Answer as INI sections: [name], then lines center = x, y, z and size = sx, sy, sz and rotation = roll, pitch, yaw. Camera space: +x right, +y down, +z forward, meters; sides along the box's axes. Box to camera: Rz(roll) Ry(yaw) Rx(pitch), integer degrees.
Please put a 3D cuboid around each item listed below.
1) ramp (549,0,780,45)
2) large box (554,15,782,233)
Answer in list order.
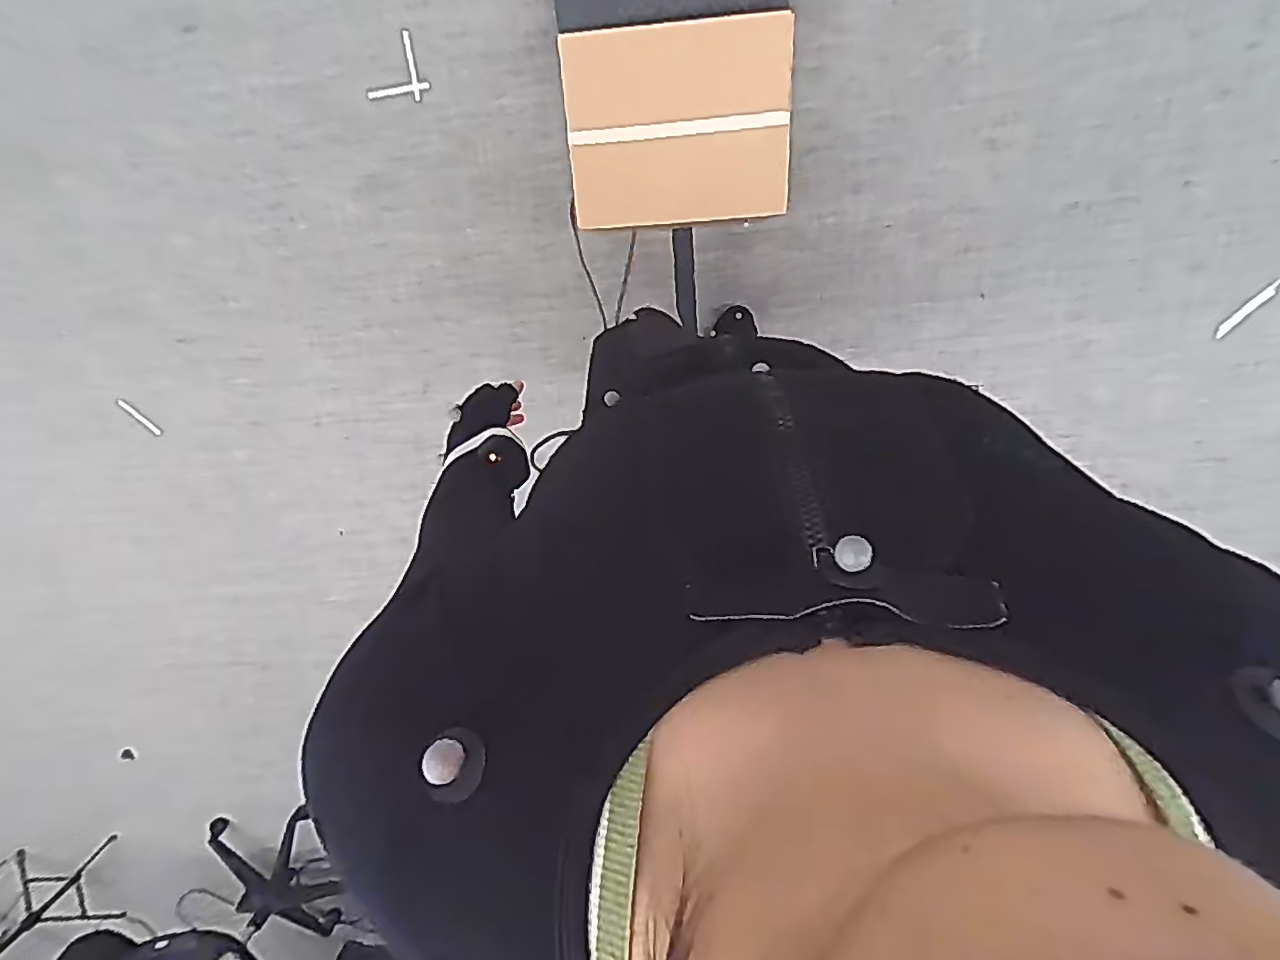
[ramp]
center = 0.022, -1.260, 1.009
size = 0.509, 0.206, 0.991
rotation = -6, 109, 4
[large box]
center = 0.066, -0.700, 1.127
size = 0.408, 0.320, 0.320
rotation = -2, 113, 4
